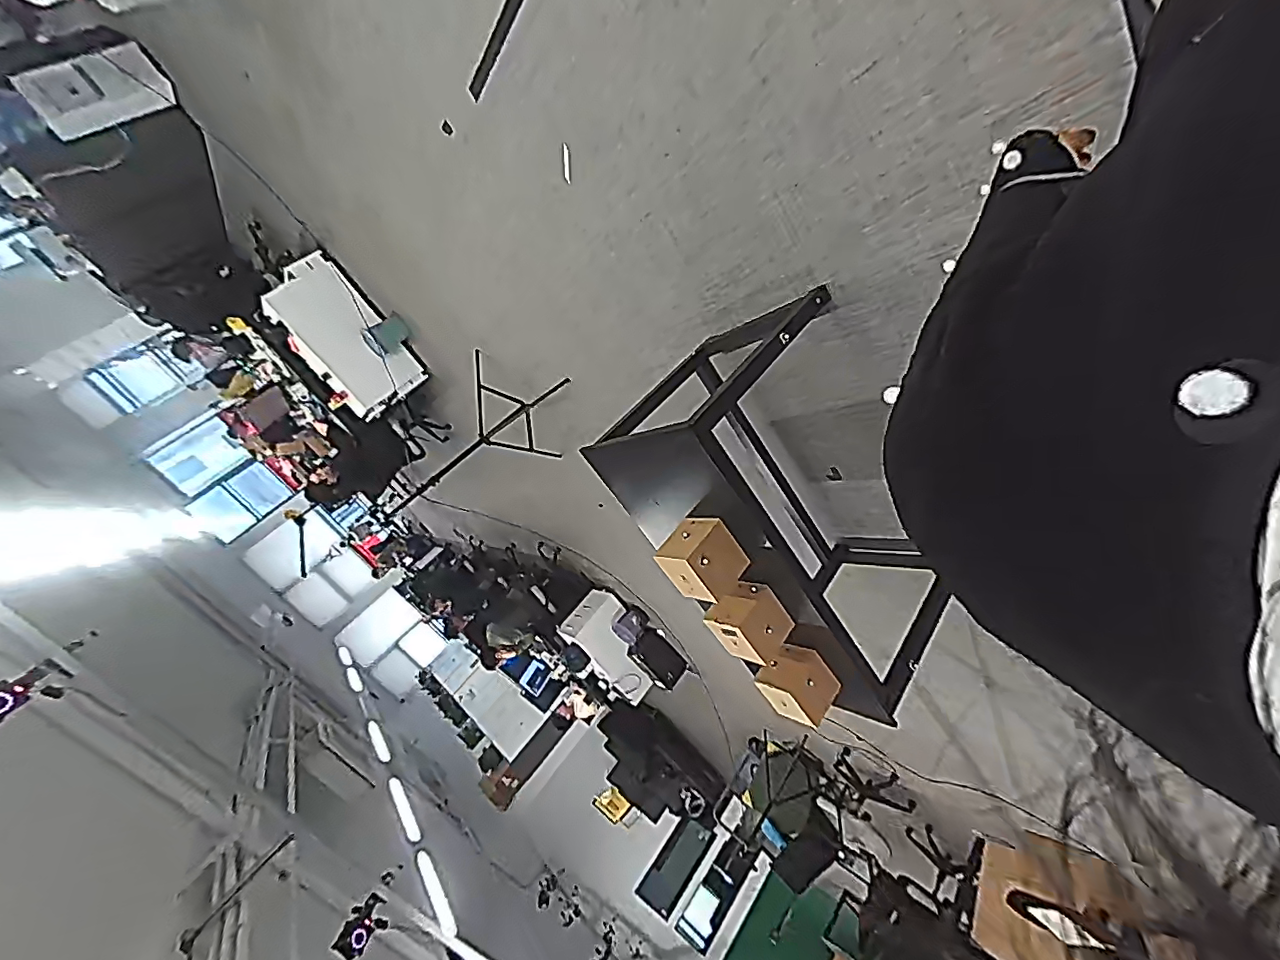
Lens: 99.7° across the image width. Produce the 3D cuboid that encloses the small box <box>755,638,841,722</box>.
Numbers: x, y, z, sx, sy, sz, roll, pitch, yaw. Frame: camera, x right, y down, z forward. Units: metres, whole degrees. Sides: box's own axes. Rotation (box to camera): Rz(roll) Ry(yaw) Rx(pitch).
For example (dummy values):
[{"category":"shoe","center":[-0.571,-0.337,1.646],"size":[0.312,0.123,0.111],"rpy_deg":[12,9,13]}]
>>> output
[{"category":"small box","center":[0.513,0.640,1.753],"size":[0.179,0.176,0.168],"rpy_deg":[51,154,-17]}]

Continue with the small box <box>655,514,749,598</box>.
[{"category":"small box","center":[0.183,0.215,1.579],"size":[0.179,0.176,0.168],"rpy_deg":[53,154,-18]}]

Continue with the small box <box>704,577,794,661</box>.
[{"category":"small box","center":[0.338,0.418,1.666],"size":[0.179,0.176,0.168],"rpy_deg":[52,153,-20]}]
